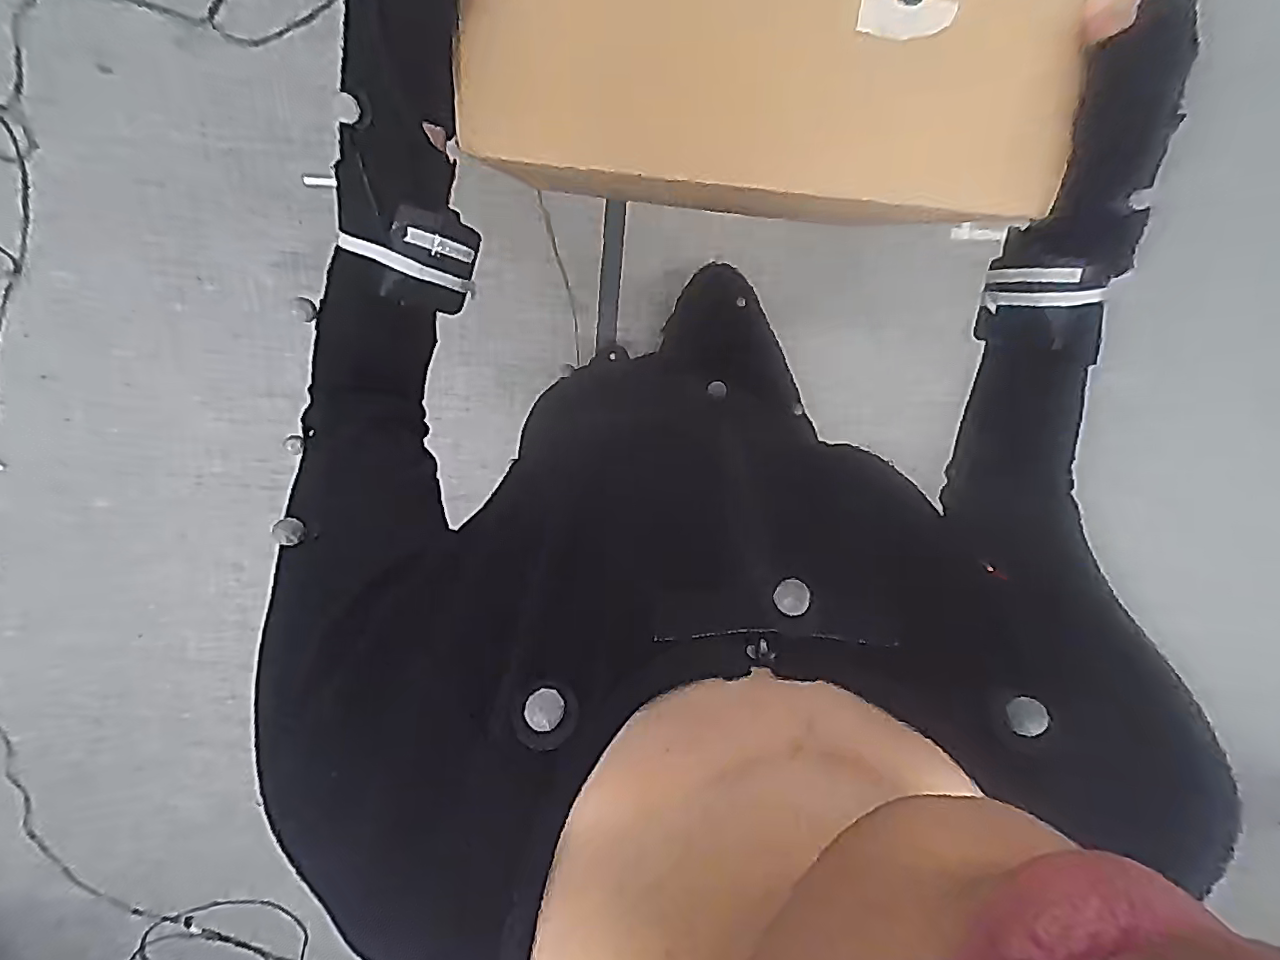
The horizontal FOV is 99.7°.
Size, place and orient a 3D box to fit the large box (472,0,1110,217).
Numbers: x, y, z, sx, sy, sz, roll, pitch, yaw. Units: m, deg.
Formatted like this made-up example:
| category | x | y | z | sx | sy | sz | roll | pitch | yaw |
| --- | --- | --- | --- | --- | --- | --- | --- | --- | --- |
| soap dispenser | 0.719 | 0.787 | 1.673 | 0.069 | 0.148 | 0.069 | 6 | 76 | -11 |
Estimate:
| category | x | y | z | sx | sy | sz | roll | pitch | yaw |
| --- | --- | --- | --- | --- | --- | --- | --- | --- | --- |
| large box | 0.092 | -0.408 | 0.445 | 0.408 | 0.320 | 0.320 | 3 | 114 | -5 |
